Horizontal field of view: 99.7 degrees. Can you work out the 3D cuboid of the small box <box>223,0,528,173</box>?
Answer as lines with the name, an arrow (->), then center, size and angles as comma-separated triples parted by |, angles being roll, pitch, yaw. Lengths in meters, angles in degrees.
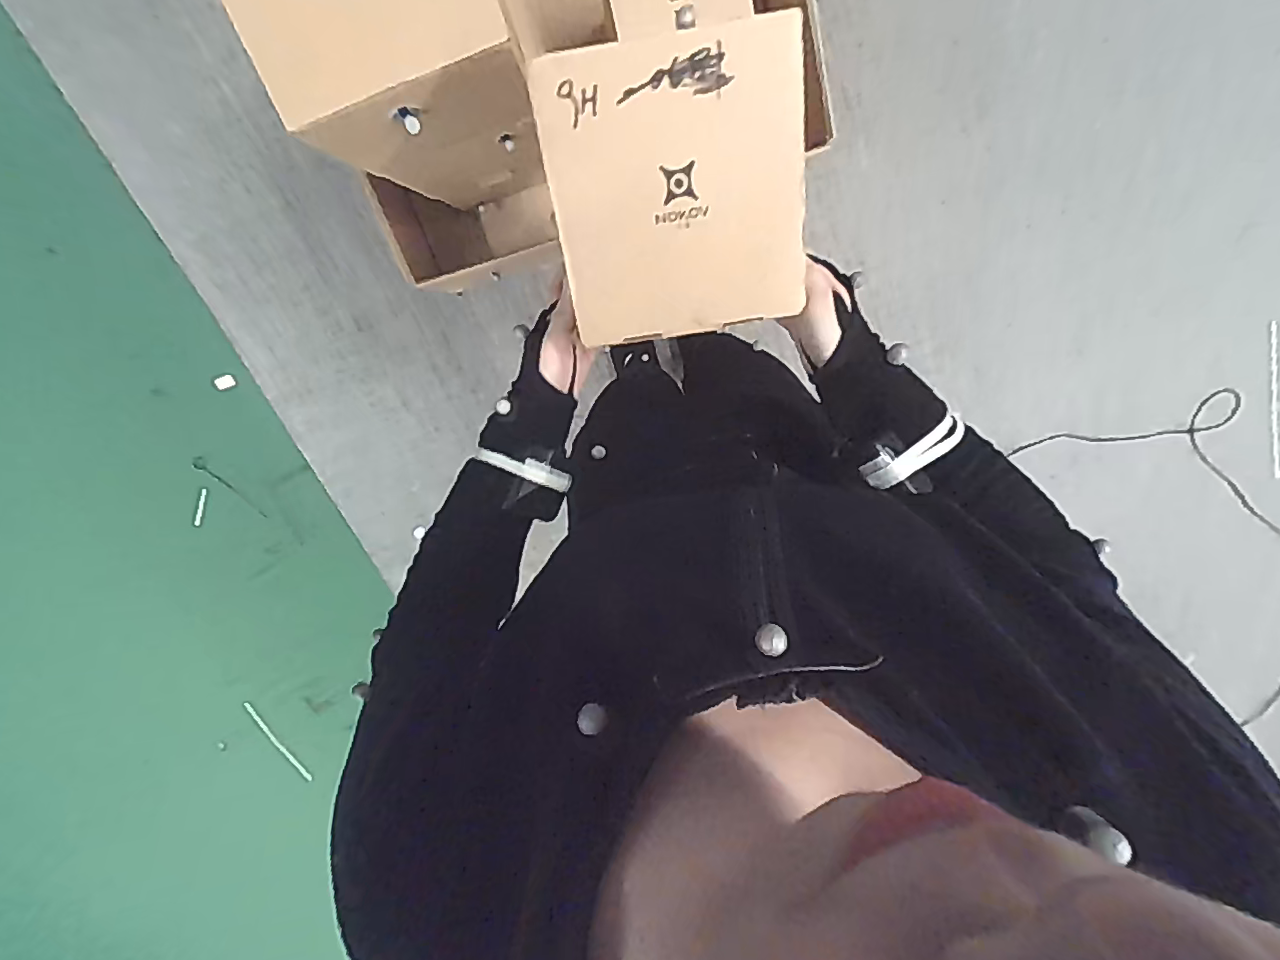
small box -> -0.201, -0.371, 0.433 | 0.179, 0.176, 0.168 | -19, 110, 3

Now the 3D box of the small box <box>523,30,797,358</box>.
small box -> 0.019, -0.215, 0.429 | 0.168, 0.176, 0.179 | -10, 118, 2

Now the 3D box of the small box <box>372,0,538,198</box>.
small box -> -0.212, -0.428, 0.587 | 0.179, 0.176, 0.168 | -19, 110, 2
